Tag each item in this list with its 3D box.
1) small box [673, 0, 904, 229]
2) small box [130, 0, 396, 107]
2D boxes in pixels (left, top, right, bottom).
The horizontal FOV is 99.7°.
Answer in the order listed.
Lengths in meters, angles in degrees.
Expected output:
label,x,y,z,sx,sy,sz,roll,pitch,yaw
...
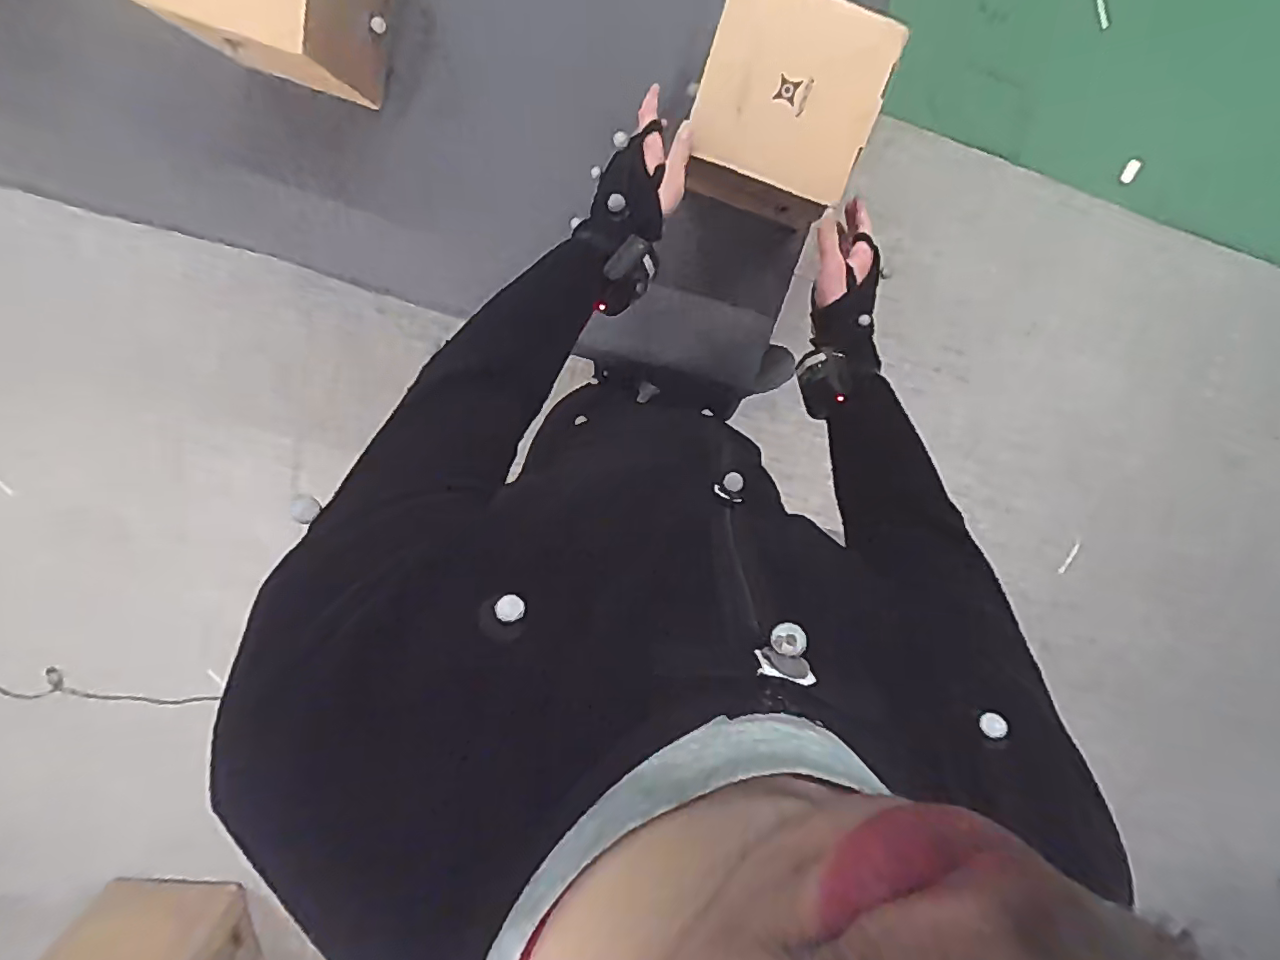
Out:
label,x,y,z,sx,sy,sz,roll,pitch,yaw
small box,0.145,-0.394,0.600,0.179,0.176,0.168,18,107,-3
small box,-0.388,-0.532,0.572,0.179,0.176,0.168,17,109,-5
